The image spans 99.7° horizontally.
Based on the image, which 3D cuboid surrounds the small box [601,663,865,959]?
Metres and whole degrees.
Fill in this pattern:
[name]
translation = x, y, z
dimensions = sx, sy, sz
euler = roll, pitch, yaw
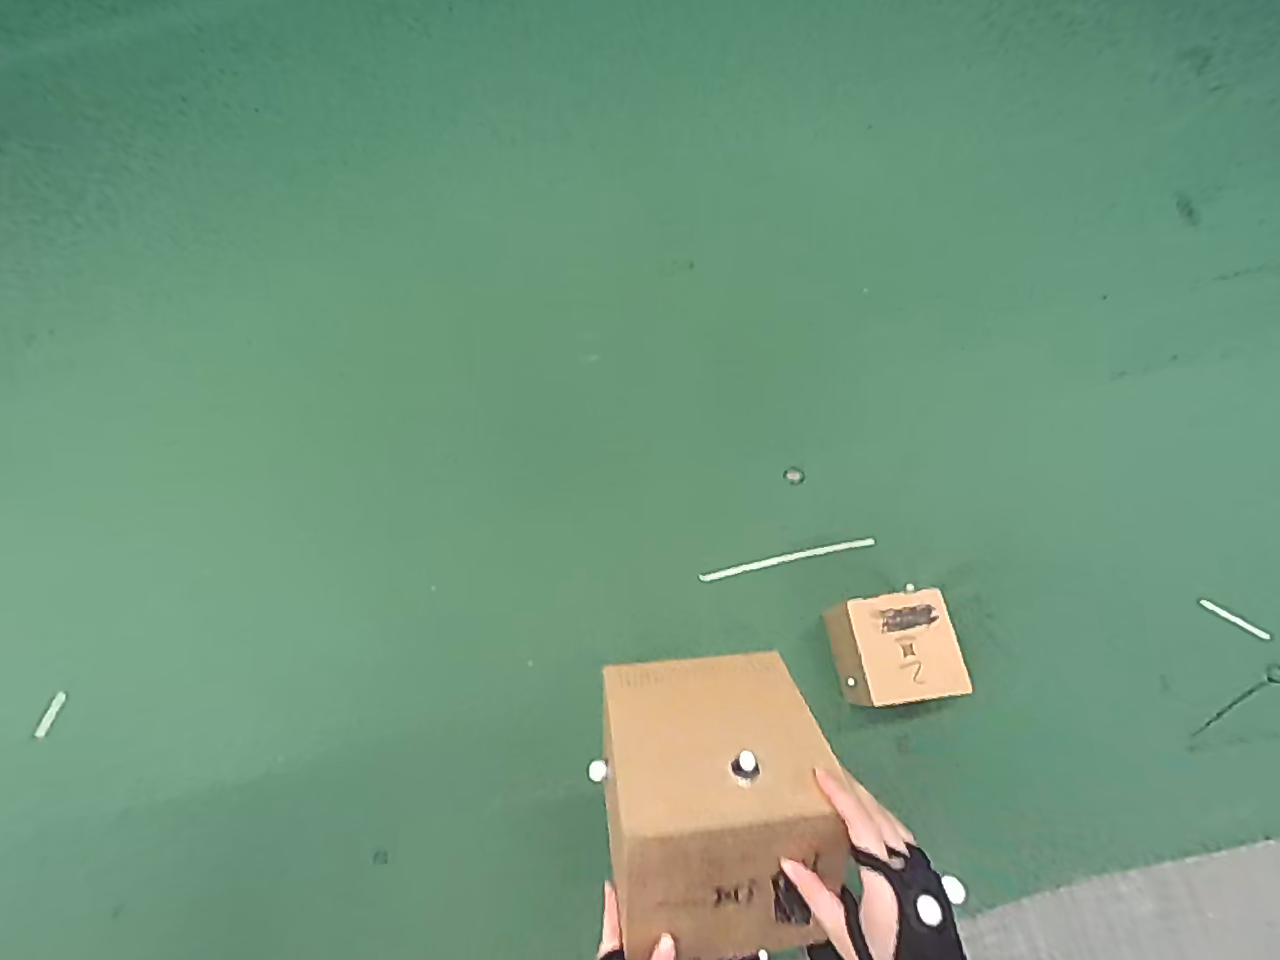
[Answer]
[small box]
translation = 0.060, 0.280, 0.471
dimensions = 0.179, 0.168, 0.176
euler = -2, 24, -7
